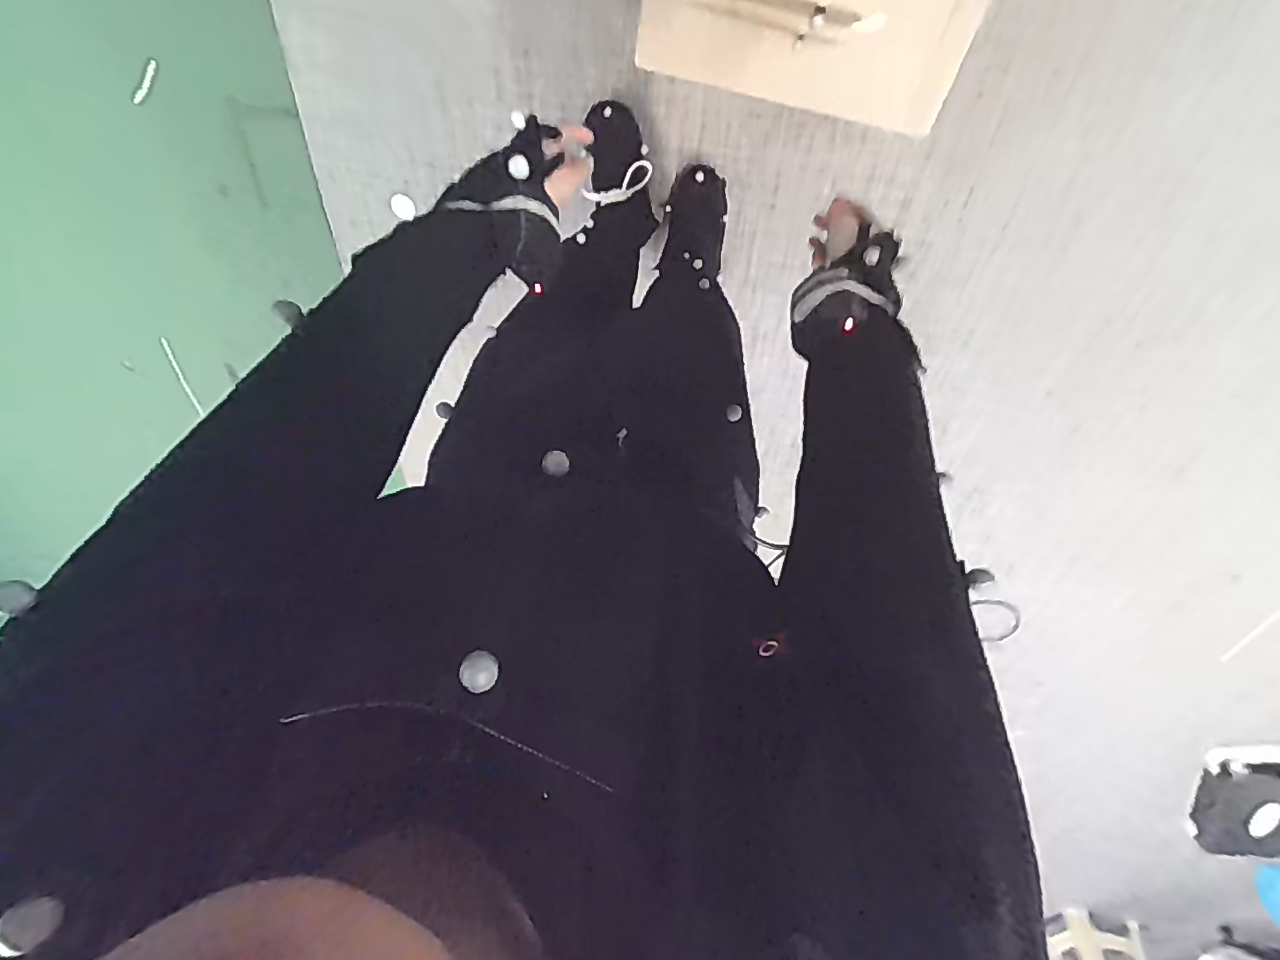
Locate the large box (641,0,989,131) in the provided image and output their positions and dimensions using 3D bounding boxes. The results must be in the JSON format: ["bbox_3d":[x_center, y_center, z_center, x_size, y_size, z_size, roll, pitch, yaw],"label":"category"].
[{"bbox_3d":[0.239,-0.710,0.733,0.408,0.320,0.320,14,131,0],"label":"large box"}]

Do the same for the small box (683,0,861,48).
[{"bbox_3d":[0.156,-0.565,0.552,0.179,0.176,0.168,16,129,1],"label":"small box"}]

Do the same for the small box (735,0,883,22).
[{"bbox_3d":[0.124,-0.478,0.417,0.179,0.176,0.168,14,129,0],"label":"small box"}]
